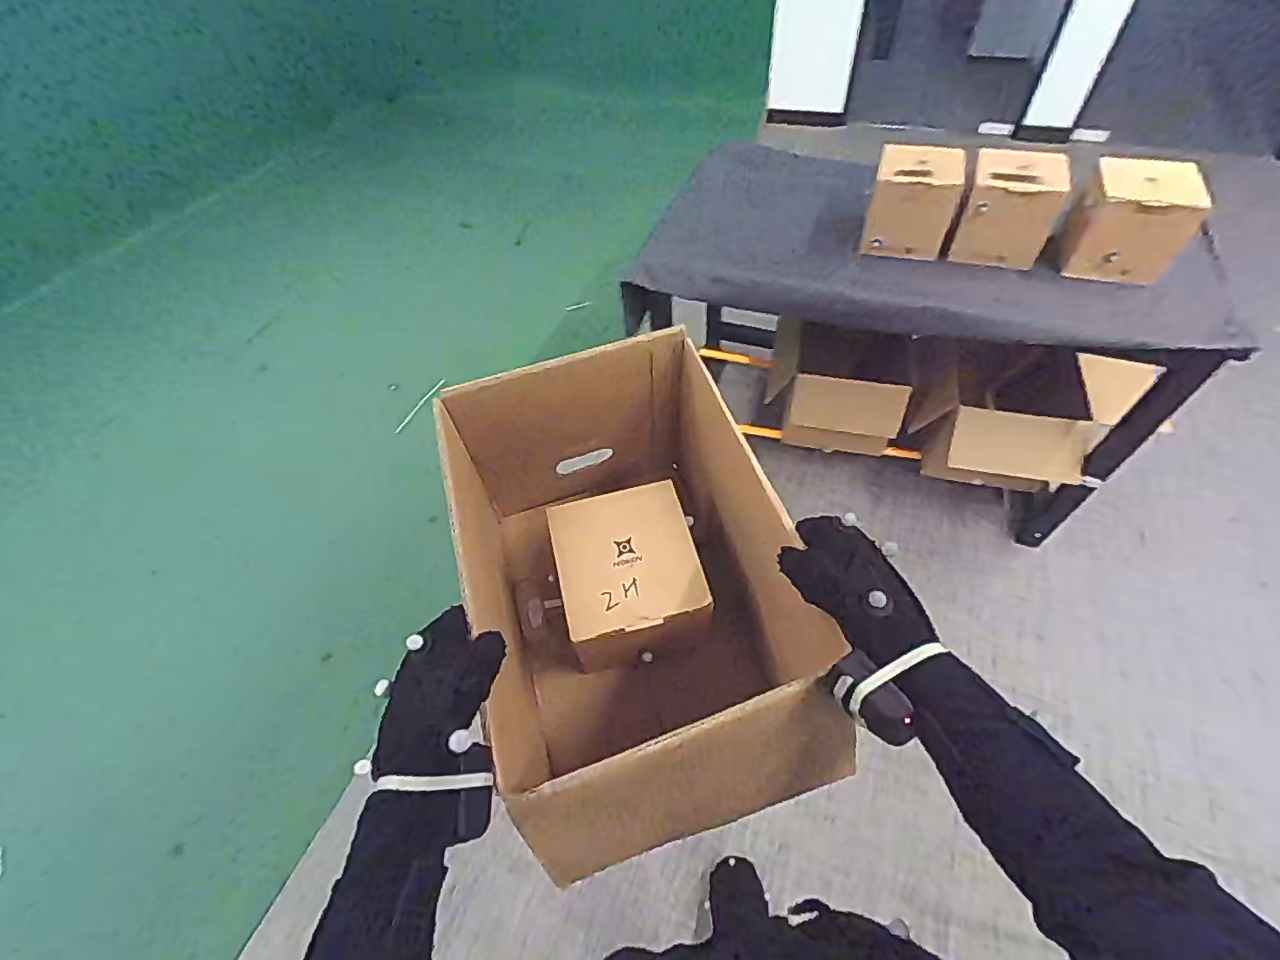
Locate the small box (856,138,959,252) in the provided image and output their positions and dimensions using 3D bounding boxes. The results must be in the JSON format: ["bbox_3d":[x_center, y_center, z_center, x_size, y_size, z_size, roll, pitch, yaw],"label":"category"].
[{"bbox_3d":[0.594,-0.636,1.212,0.168,0.176,0.179,13,56,15],"label":"small box"}]

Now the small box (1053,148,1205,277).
[{"bbox_3d":[0.982,-0.547,1.108,0.168,0.176,0.179,14,57,16],"label":"small box"}]
